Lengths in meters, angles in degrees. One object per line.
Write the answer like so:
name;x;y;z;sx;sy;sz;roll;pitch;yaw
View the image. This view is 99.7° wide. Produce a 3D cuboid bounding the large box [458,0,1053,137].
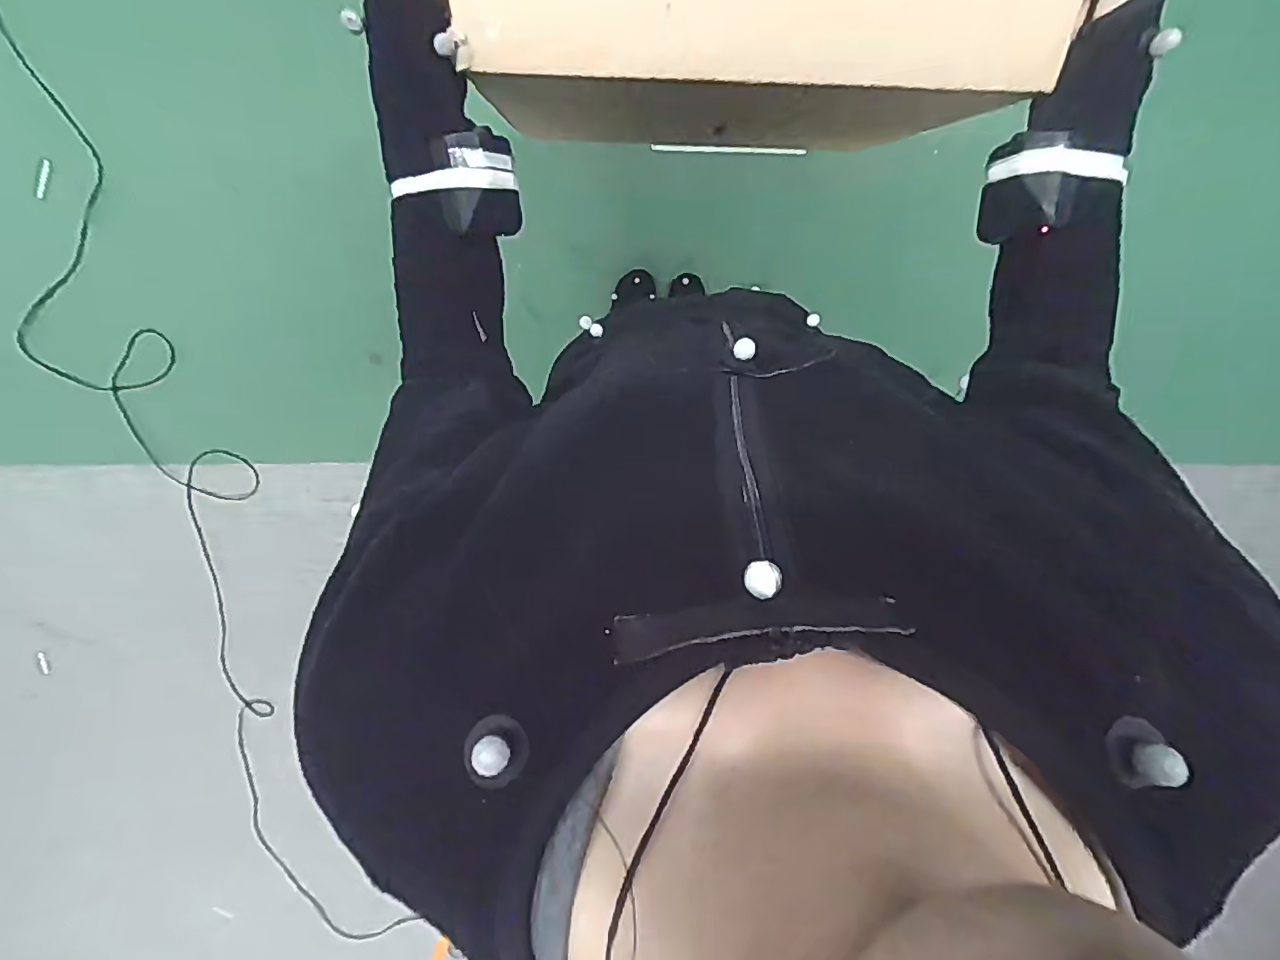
large box;0.077;-0.480;0.444;0.408;0.320;0.320;0;115;-2
